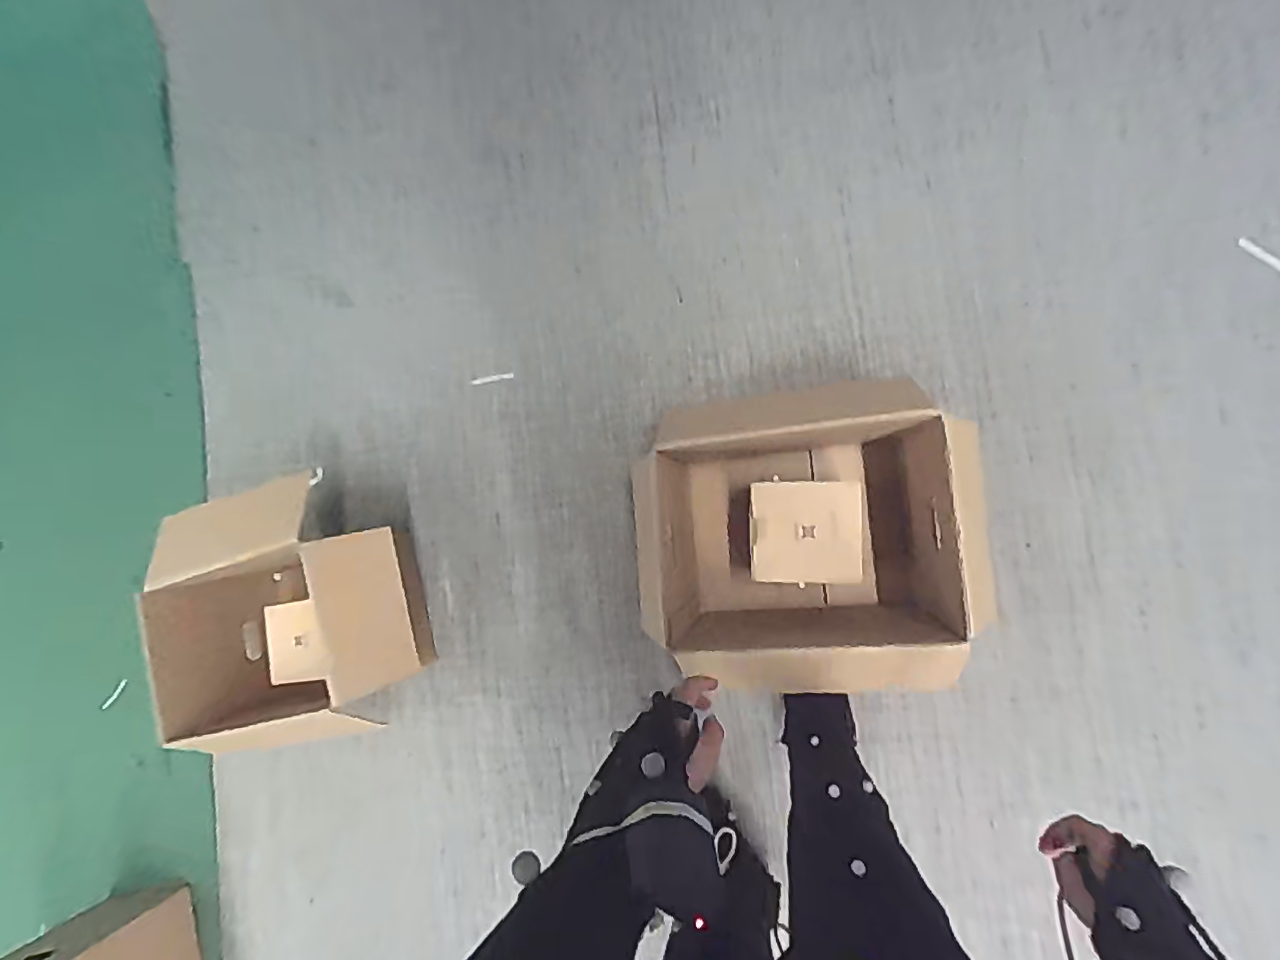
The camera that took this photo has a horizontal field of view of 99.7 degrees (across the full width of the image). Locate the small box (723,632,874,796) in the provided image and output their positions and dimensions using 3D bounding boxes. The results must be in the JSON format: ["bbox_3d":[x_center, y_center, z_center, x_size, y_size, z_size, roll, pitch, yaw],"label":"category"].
[{"bbox_3d":[0.273,0.405,0.928,0.179,0.168,0.176,37,122,1],"label":"small box"}]
